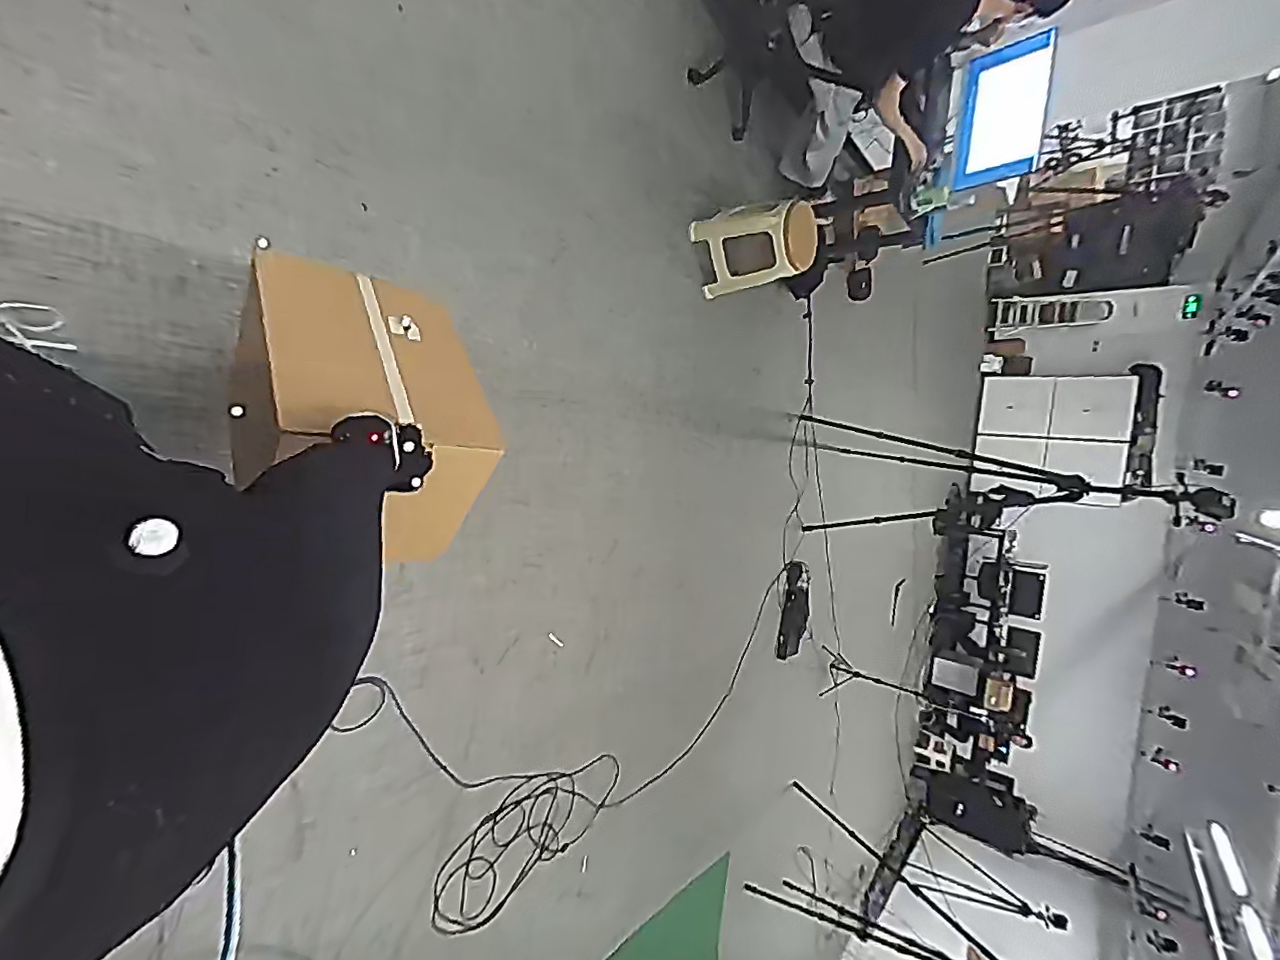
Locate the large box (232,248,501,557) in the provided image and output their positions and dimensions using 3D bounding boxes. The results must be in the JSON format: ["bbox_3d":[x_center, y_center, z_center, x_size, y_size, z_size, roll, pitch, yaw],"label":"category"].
[{"bbox_3d":[-0.500,-0.120,0.952,0.320,0.408,0.320,4,137,-44],"label":"large box"}]
